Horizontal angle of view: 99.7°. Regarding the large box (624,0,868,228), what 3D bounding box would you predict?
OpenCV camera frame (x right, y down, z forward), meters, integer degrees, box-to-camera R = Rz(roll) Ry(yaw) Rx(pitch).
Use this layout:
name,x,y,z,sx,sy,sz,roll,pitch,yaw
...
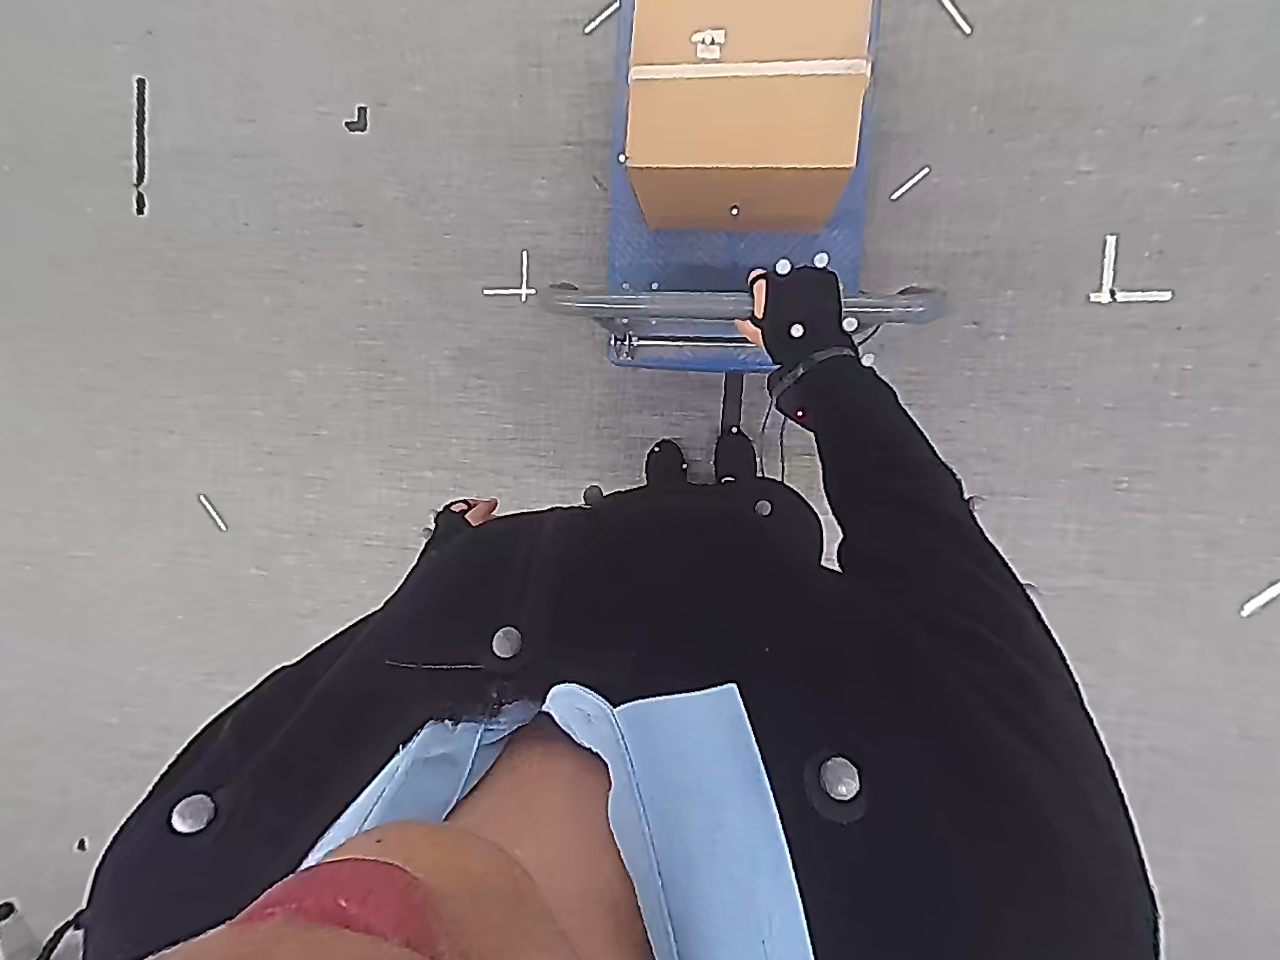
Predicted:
name,x,y,z,sx,sy,sz,roll,pitch,yaw
large box,0.201,-0.712,1.073,0.408,0.320,0.320,5,95,9
